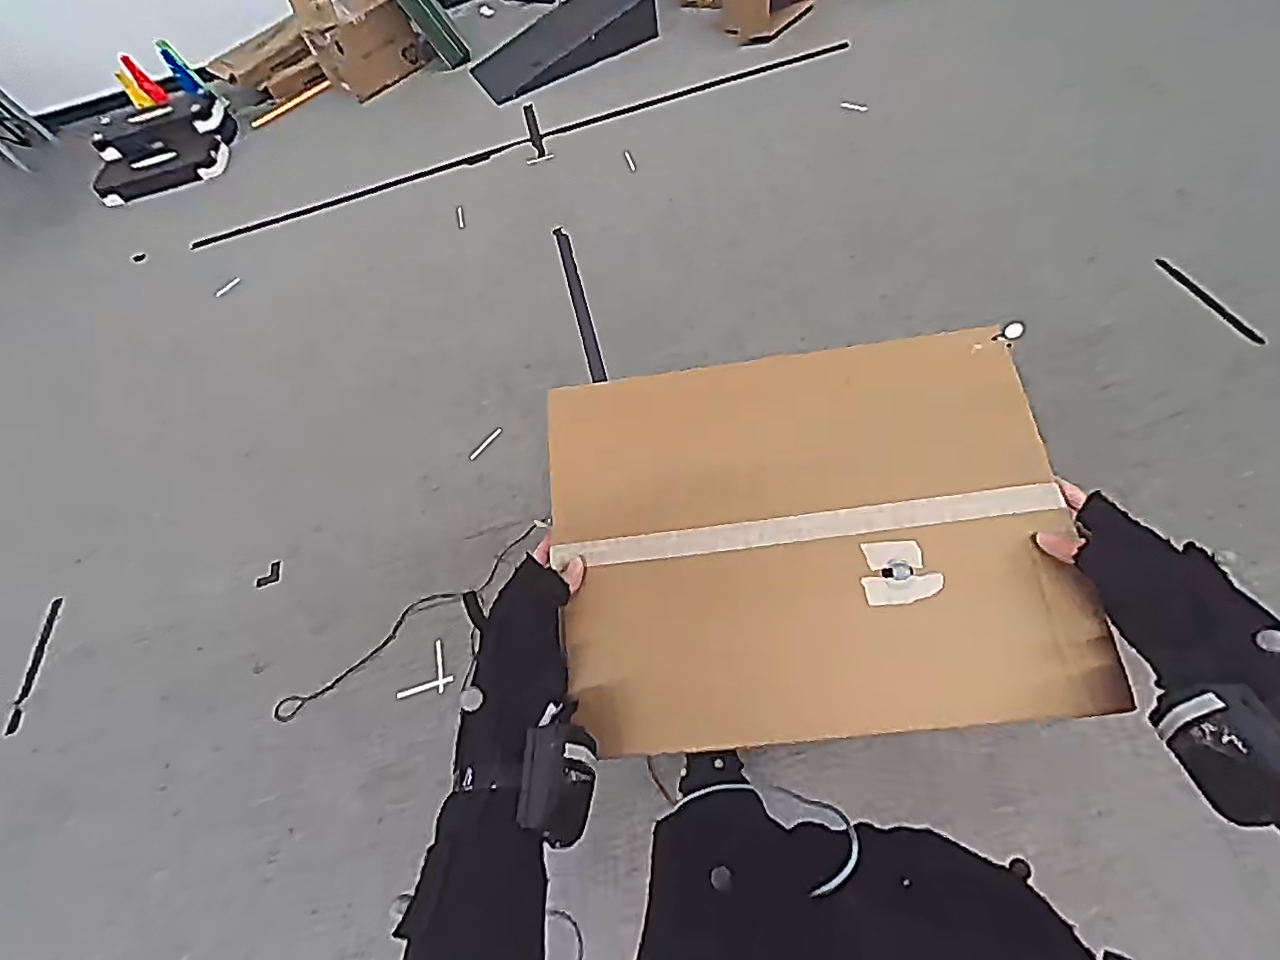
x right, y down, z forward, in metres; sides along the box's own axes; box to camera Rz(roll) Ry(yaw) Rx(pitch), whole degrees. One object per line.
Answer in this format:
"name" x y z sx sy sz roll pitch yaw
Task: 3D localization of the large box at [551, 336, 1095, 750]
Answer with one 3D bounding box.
"large box" 0.141 0.086 0.600 0.408 0.320 0.320 -8 72 4
